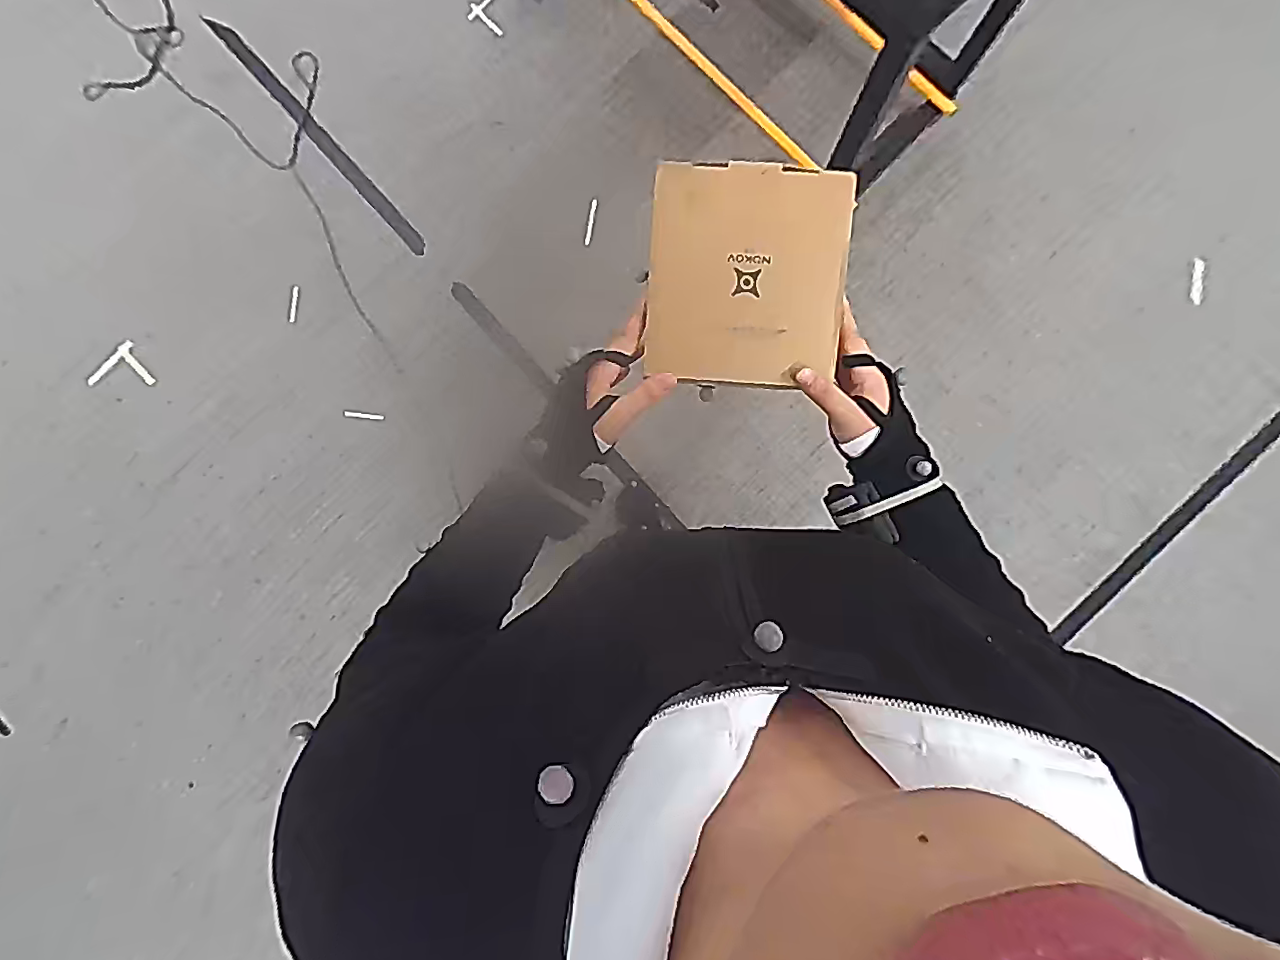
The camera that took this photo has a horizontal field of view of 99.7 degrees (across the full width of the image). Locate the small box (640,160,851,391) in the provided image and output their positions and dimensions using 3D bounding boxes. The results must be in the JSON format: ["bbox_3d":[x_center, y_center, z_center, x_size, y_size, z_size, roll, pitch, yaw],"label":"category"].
[{"bbox_3d":[0.086,-0.181,0.531,0.168,0.176,0.179,3,99,0],"label":"small box"}]

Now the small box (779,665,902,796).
[{"bbox_3d":[0.439,0.550,1.217,0.179,0.176,0.168,-44,86,1],"label":"small box"}]

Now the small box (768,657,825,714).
[{"bbox_3d":[0.452,0.577,1.381,0.168,0.176,0.179,-42,85,0],"label":"small box"}]
